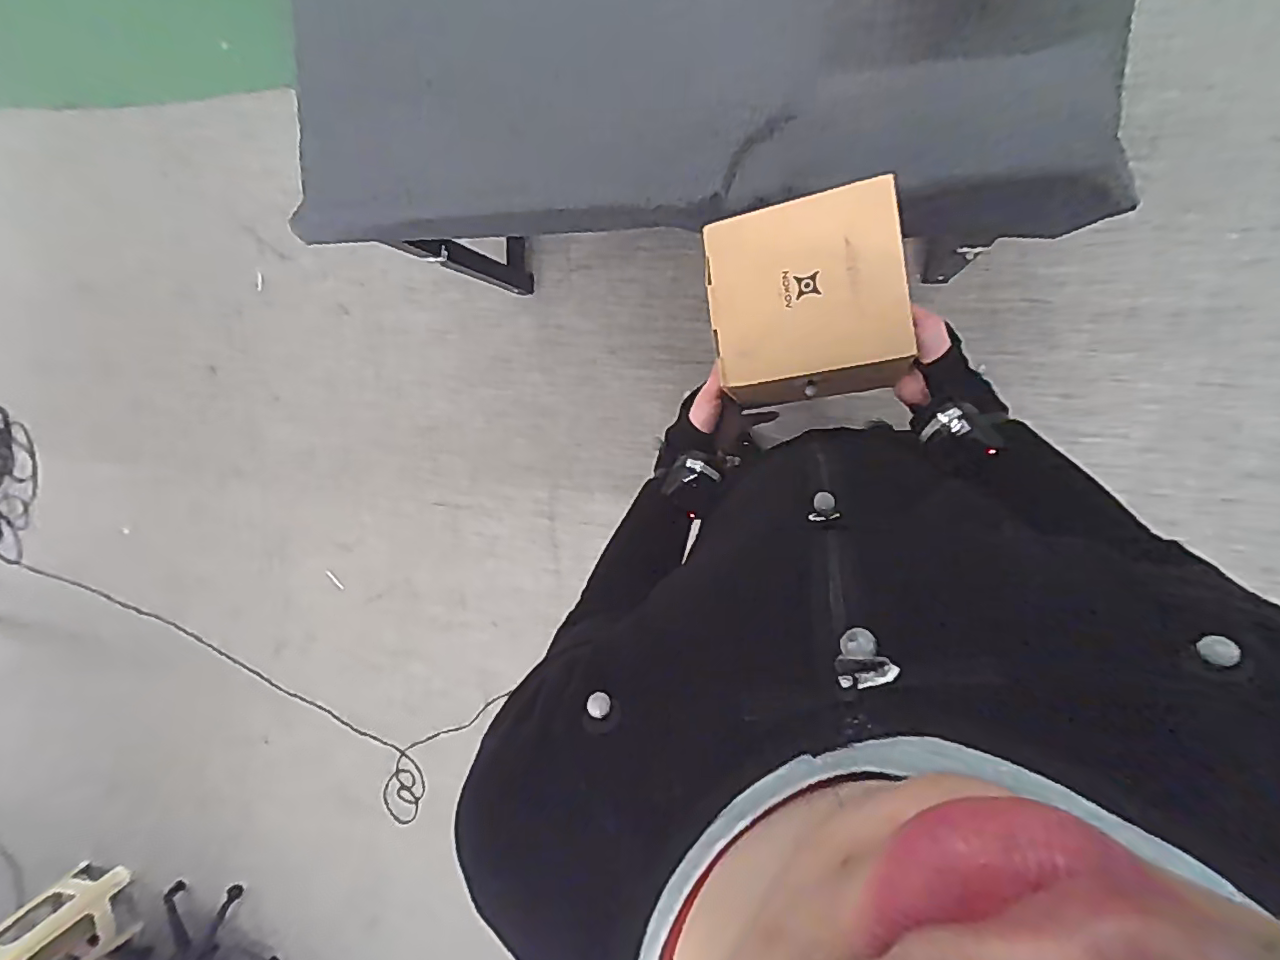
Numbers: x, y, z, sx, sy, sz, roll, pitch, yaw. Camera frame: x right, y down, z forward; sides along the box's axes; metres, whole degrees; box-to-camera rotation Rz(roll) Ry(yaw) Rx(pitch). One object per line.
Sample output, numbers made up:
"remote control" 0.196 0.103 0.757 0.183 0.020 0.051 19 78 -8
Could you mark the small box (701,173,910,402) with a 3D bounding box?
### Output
"small box" 0.175 -0.184 0.580 0.179 0.176 0.168 -7 89 18
